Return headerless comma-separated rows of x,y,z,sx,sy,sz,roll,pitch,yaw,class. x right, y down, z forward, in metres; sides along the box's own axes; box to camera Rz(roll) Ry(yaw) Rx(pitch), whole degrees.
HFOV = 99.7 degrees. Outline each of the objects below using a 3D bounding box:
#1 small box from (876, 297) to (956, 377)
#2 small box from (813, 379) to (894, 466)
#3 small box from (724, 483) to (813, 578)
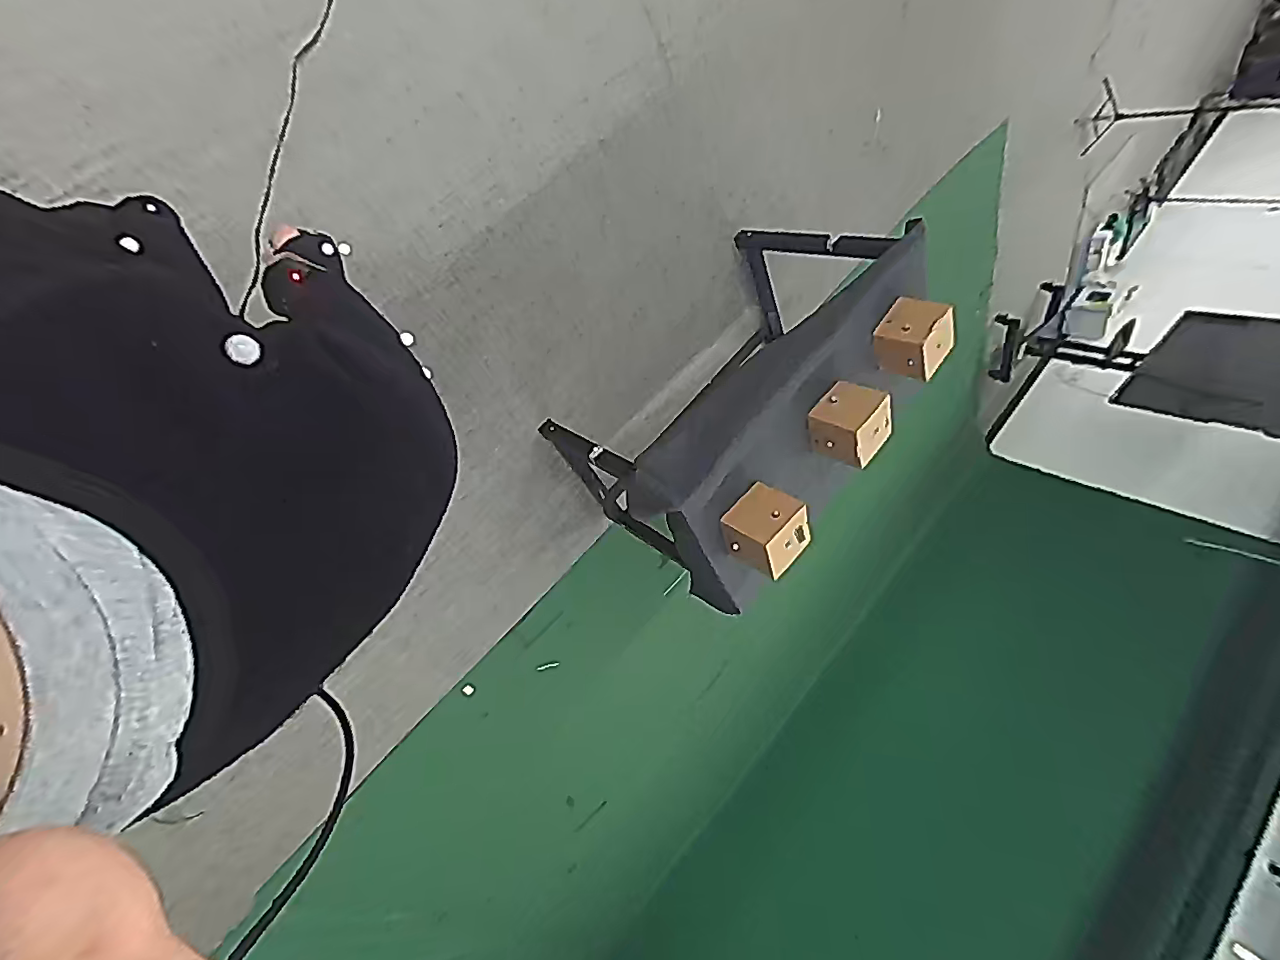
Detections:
0.872,-0.460,1.715,0.168,0.176,0.179,-52,139,-8,small box
0.643,-0.179,1.642,0.179,0.176,0.168,-45,135,-16,small box
0.366,0.136,1.539,0.179,0.176,0.168,-42,134,-19,small box
